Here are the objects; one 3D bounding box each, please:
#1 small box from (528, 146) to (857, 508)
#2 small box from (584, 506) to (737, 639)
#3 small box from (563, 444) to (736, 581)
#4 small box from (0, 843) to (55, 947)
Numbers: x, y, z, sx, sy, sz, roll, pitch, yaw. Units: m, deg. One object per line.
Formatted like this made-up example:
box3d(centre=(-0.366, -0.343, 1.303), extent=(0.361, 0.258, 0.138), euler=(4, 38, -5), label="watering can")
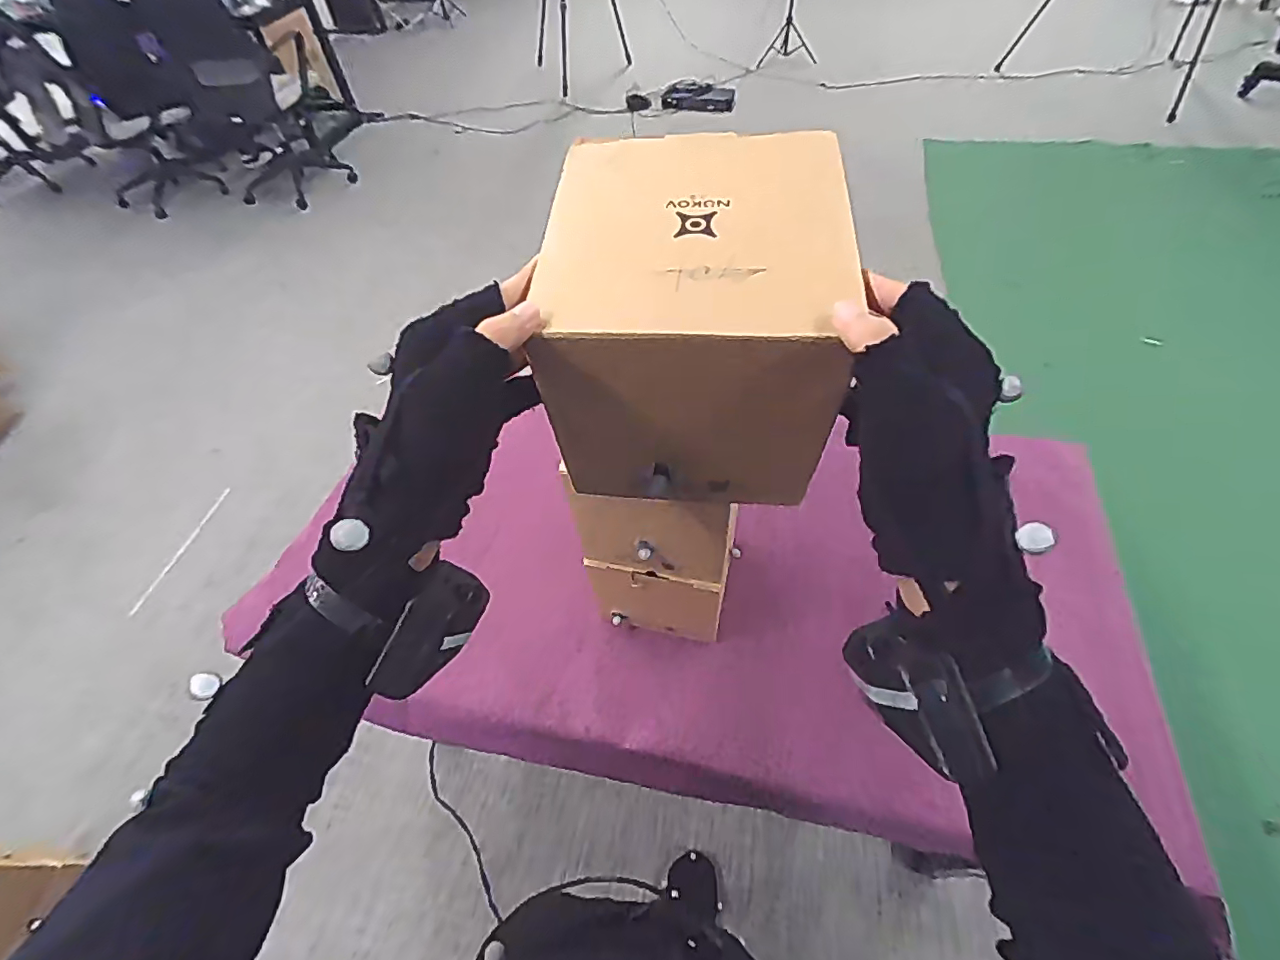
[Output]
box3d(centre=(0.036, -0.100, 0.375), extent=(0.168, 0.176, 0.179), euler=(3, 60, 6), label="small box")
box3d(centre=(0.038, 0.095, 0.737), extent=(0.168, 0.176, 0.179), euler=(10, 54, 12), label="small box")
box3d(centre=(0.028, -0.012, 0.612), extent=(0.168, 0.176, 0.179), euler=(10, 55, 12), label="small box")
box3d(centre=(-1.294, 0.797, 1.015), extent=(0.168, 0.176, 0.179), euler=(7, 53, 10), label="small box")
